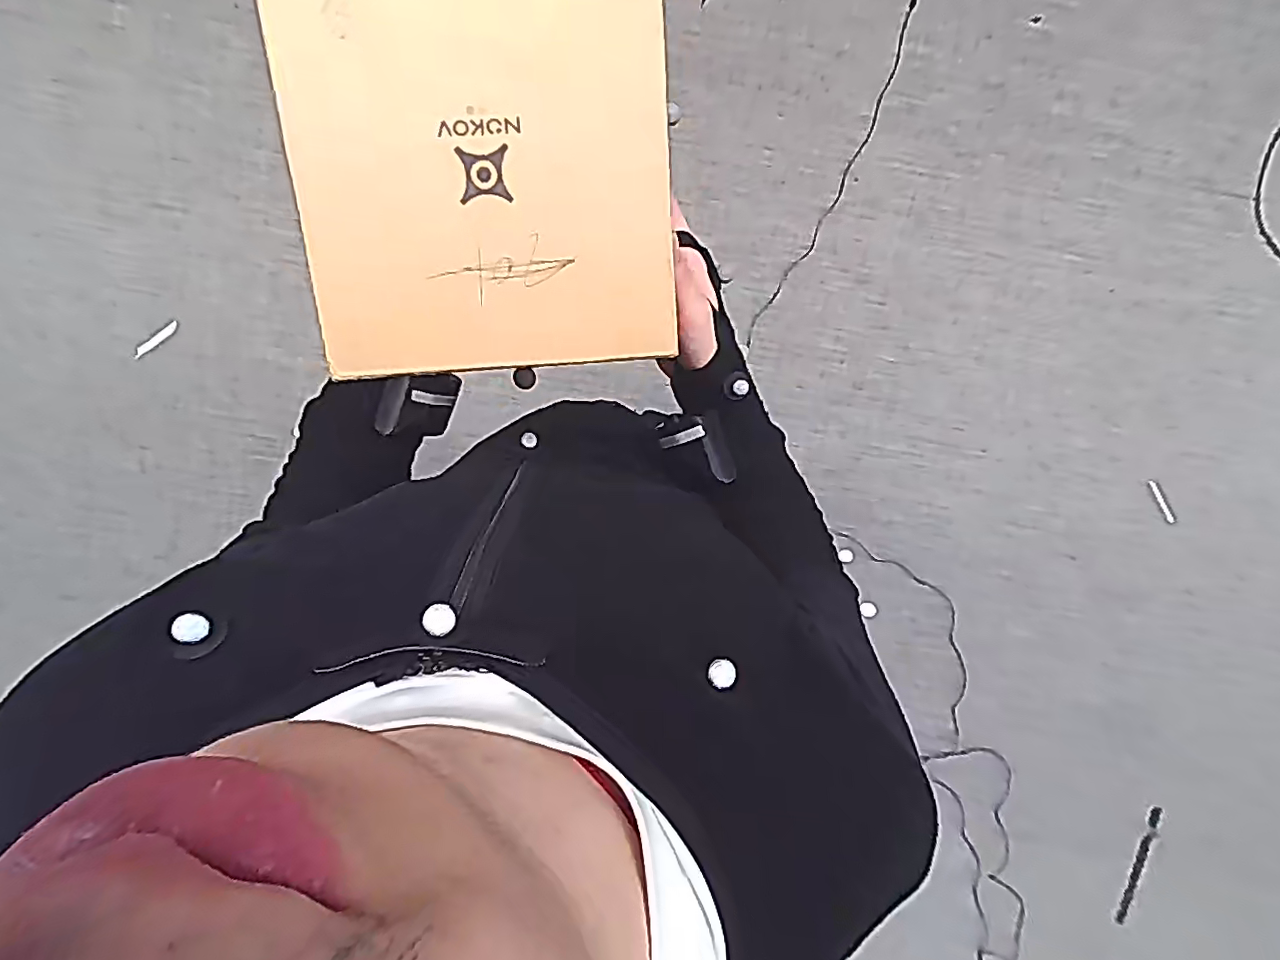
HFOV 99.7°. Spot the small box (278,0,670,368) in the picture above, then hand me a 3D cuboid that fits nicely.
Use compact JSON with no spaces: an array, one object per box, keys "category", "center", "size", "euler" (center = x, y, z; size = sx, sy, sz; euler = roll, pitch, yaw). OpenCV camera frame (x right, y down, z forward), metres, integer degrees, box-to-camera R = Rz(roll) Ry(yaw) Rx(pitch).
[{"category":"small box","center":[-0.075,-0.161,0.326],"size":[0.168,0.176,0.179],"euler":[-4,104,-2]}]
